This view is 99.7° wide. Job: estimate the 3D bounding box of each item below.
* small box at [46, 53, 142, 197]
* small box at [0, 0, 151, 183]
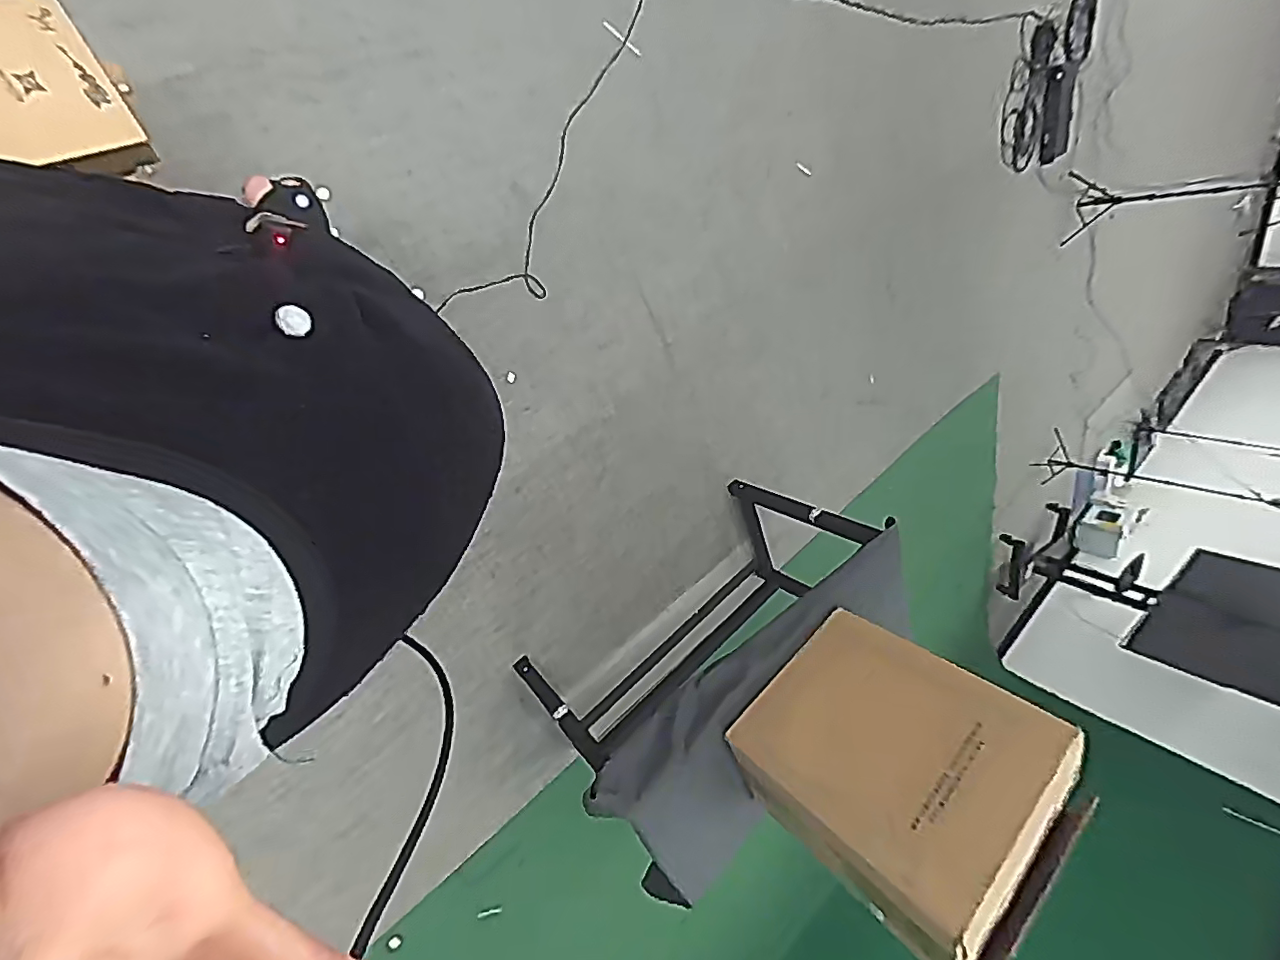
[{"bbox_3d":[-0.895,-0.557,0.833,0.168,0.176,0.179,-5,110,-36],"label":"small box"},{"bbox_3d":[-0.799,-0.508,0.709,0.179,0.176,0.168,-32,124,-22],"label":"small box"}]
